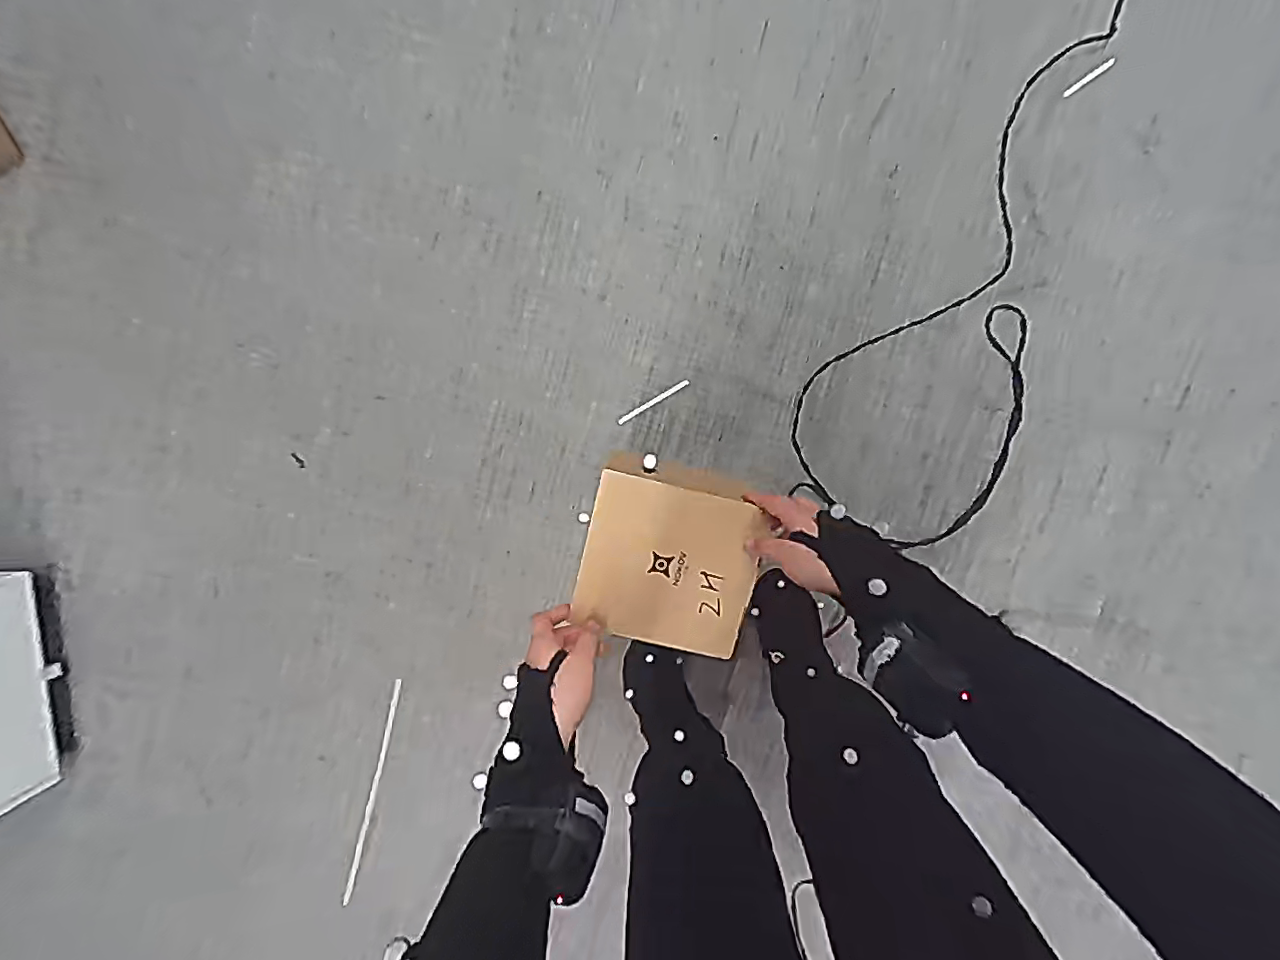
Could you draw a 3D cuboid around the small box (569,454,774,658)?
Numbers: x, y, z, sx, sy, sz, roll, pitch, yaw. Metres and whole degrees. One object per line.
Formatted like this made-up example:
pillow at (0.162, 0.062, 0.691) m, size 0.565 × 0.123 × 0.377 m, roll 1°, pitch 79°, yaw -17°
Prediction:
small box at (0.031, 0.072, 0.617) m, size 0.179 × 0.176 × 0.168 m, roll 13°, pitch 102°, yaw -2°
